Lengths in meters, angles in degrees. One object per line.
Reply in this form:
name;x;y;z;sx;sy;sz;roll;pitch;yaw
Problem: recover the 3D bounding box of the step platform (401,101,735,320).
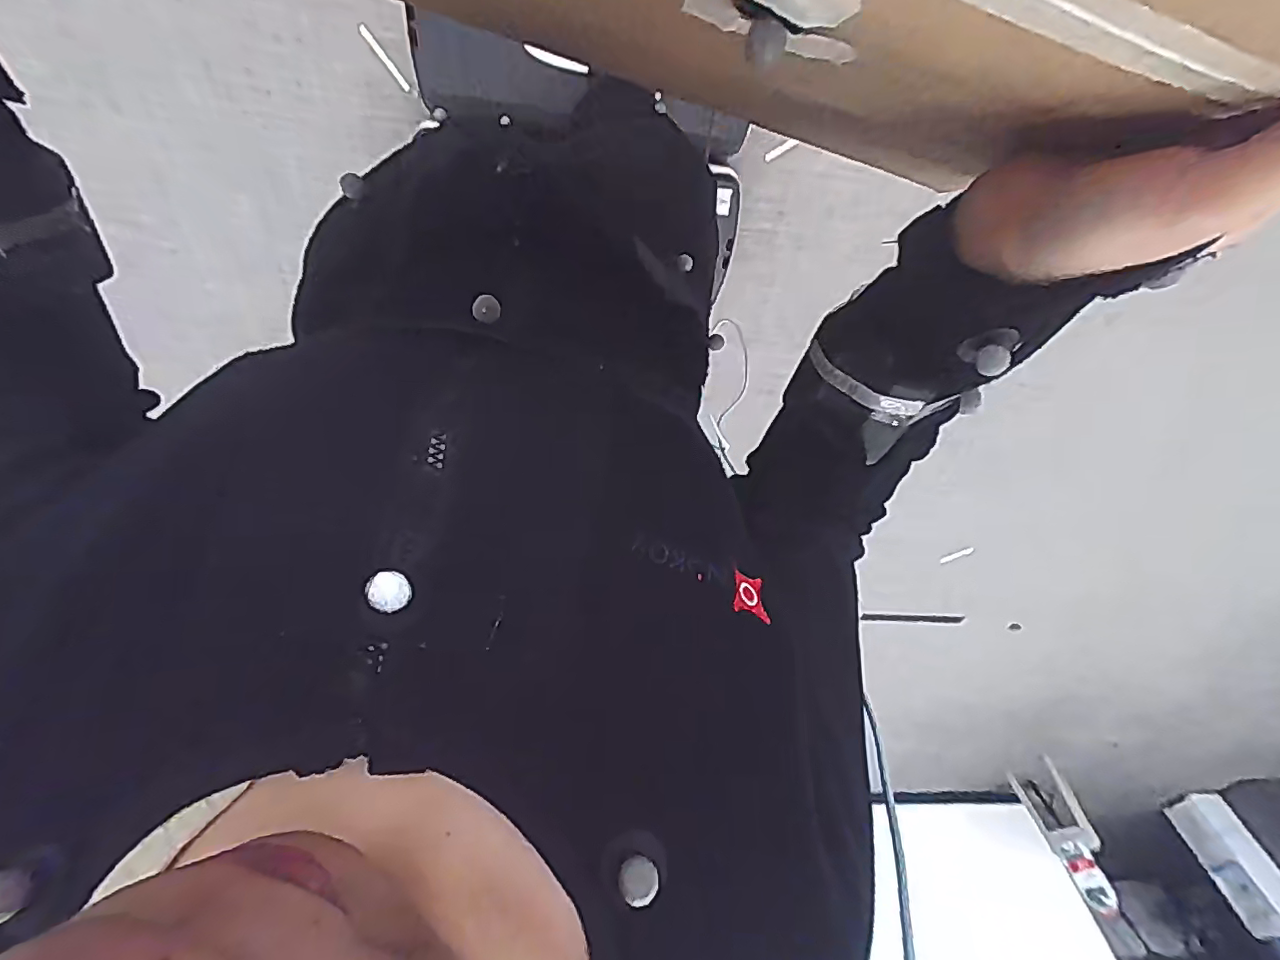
step platform;-0.145;-0.566;1.169;0.684;0.204;0.286;9;128;-10
